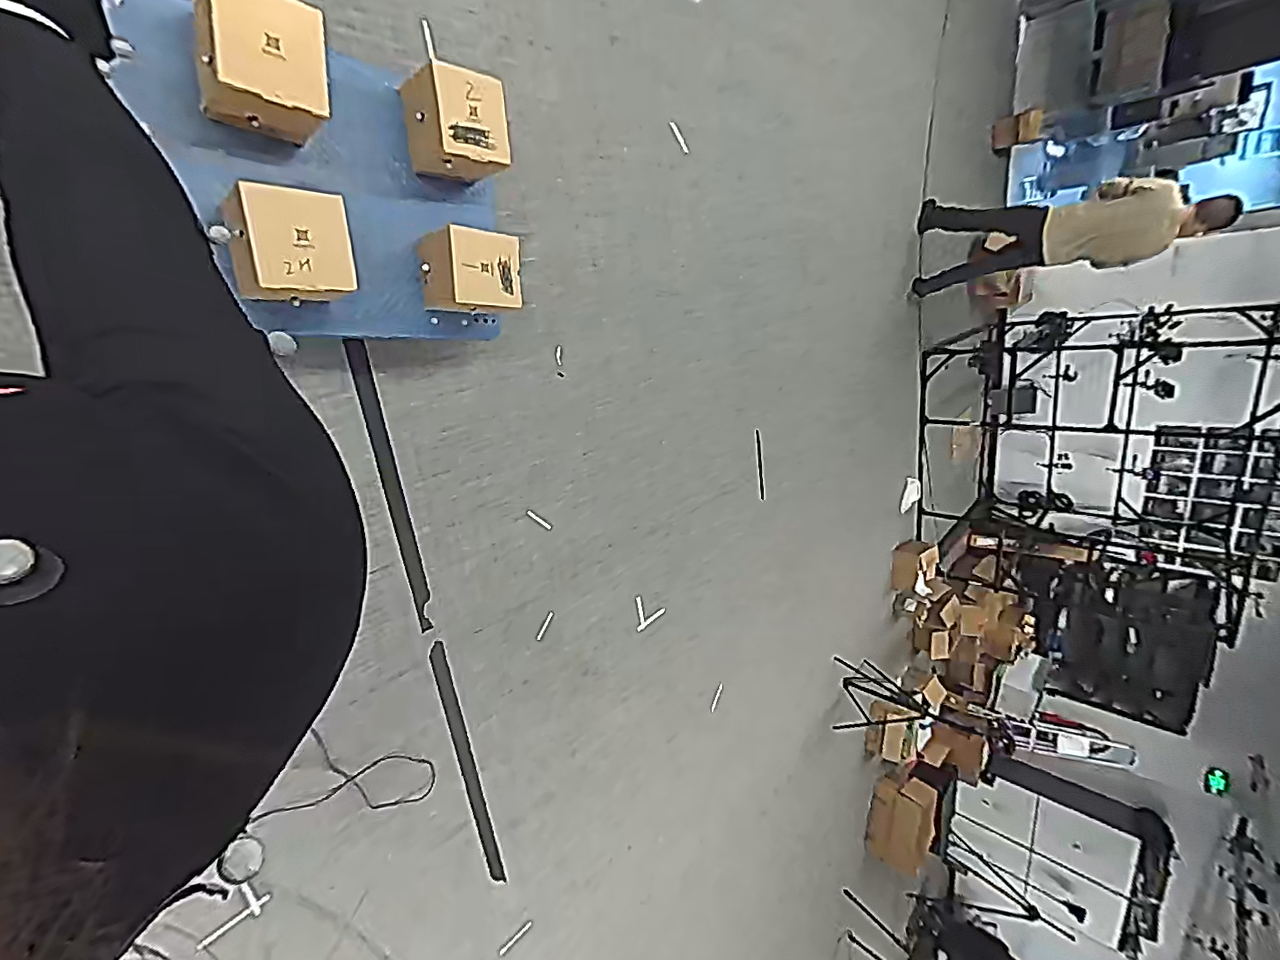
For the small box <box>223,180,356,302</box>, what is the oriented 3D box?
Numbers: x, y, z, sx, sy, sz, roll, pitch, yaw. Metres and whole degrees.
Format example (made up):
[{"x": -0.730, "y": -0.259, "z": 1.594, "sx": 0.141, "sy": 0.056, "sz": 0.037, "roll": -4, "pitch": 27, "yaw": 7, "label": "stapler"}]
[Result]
[{"x": -0.674, "y": -0.446, "z": 1.039, "sx": 0.168, "sy": 0.176, "sz": 0.179, "roll": -16, "pitch": 108, "yaw": -44, "label": "small box"}]

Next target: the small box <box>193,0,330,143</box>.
[{"x": -0.683, "y": -0.749, "z": 0.976, "sx": 0.168, "sy": 0.176, "sz": 0.179, "roll": -9, "pitch": 105, "yaw": -45, "label": "small box"}]

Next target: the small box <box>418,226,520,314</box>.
[{"x": -0.411, "y": -0.496, "z": 1.305, "sx": 0.179, "sy": 0.176, "sz": 0.168, "roll": -11, "pitch": 105, "yaw": -43, "label": "small box"}]
